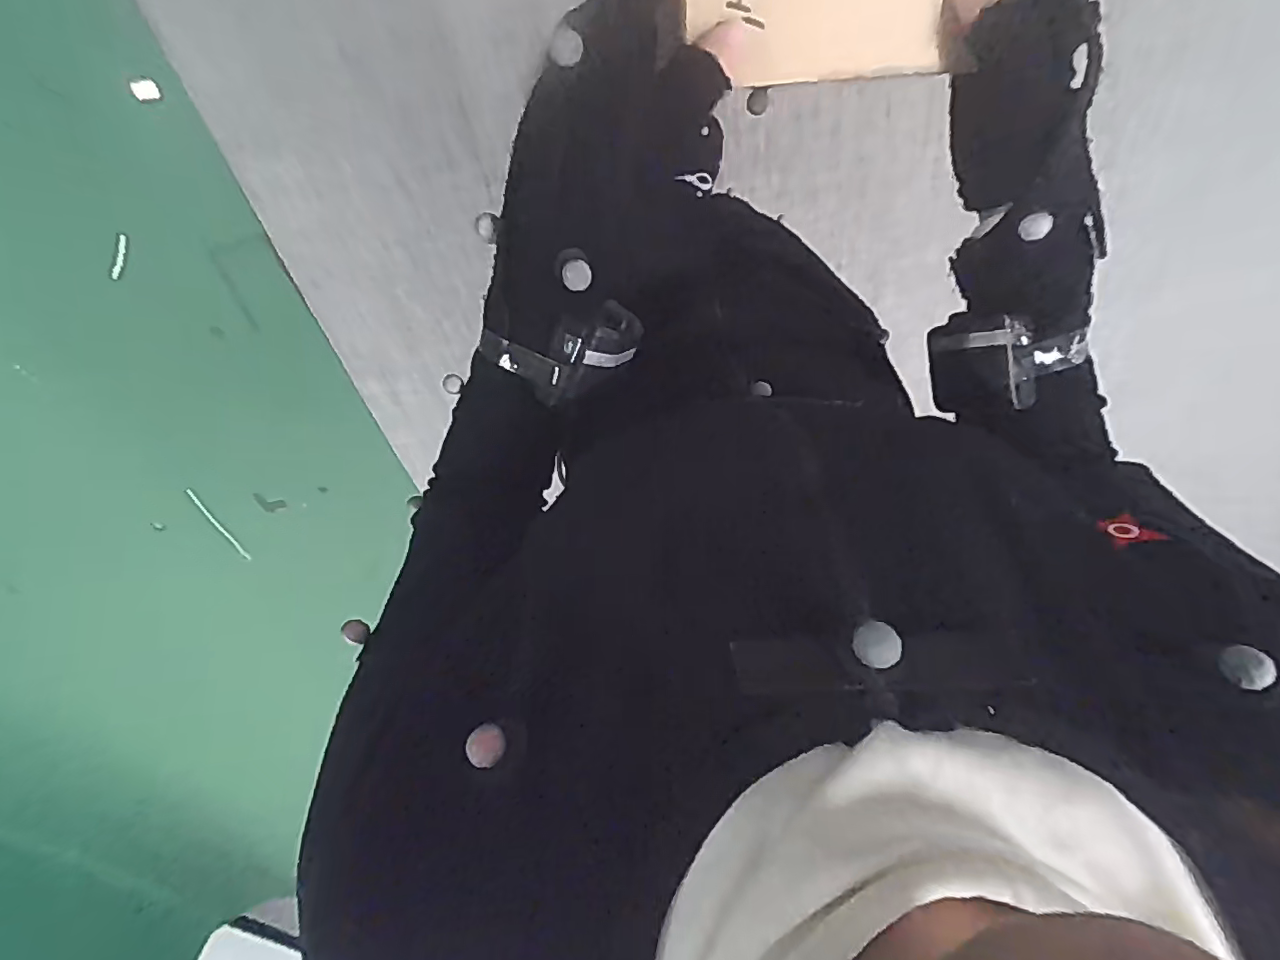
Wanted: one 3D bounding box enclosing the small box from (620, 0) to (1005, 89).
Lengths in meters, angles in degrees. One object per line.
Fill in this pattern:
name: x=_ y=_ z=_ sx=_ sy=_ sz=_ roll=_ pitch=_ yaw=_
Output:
small box: x=0.087 y=-0.324 z=0.302 sx=0.179 sy=0.176 sz=0.168 roll=-9 pitch=125 yaw=-8
